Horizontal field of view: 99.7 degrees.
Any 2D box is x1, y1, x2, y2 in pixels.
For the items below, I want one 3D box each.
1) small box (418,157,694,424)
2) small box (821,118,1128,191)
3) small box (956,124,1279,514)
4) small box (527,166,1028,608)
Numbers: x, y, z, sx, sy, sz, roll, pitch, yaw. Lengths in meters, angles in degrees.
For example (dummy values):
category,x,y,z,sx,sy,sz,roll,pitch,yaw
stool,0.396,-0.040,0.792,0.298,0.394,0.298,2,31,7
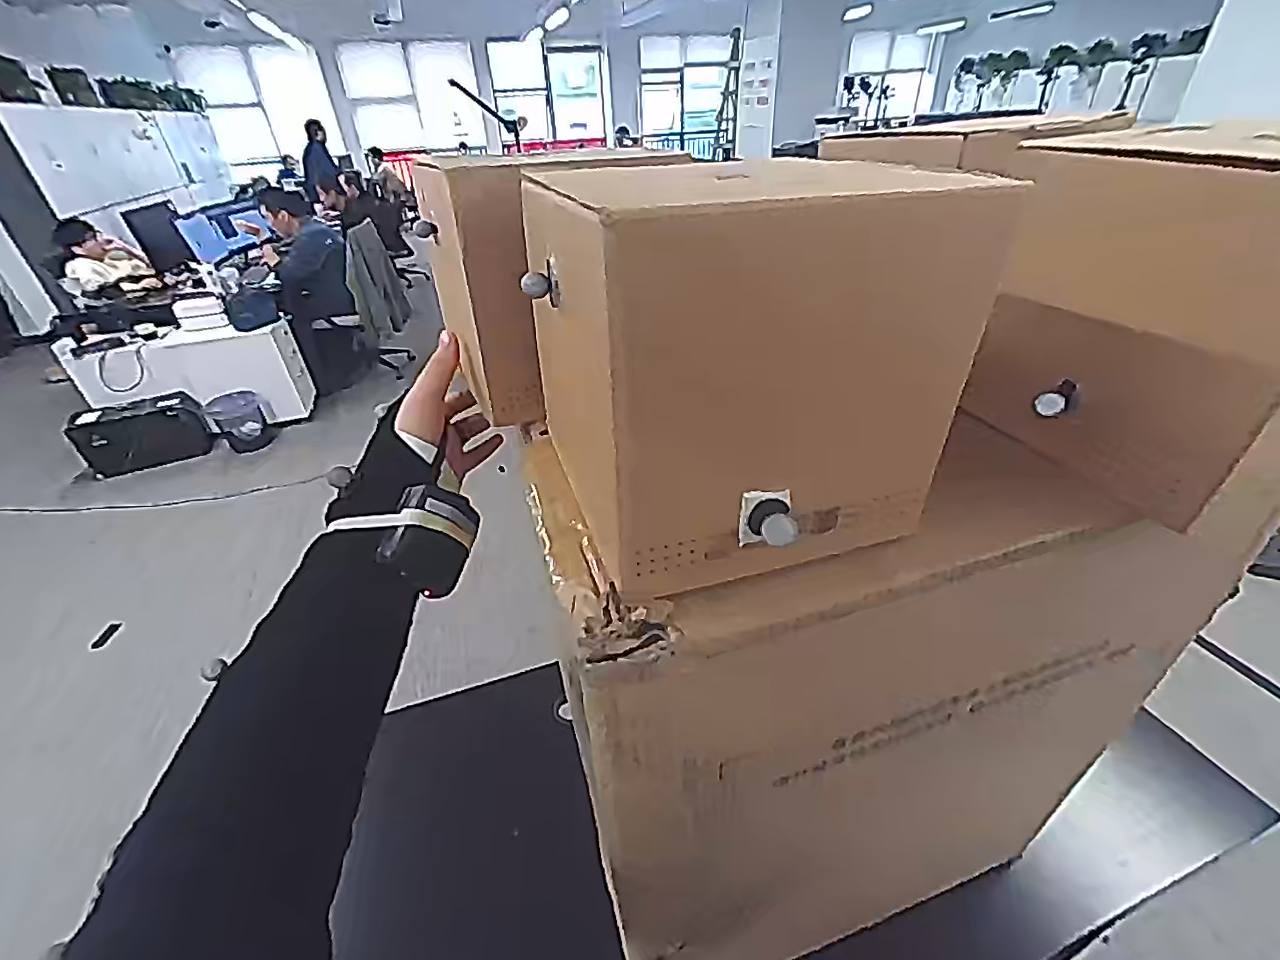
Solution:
category,x,y,z,sx,sy,sz,roll,pitch,yaw
small box,-0.070,-0.163,0.442,0.168,0.176,0.179,-16,35,-20
small box,0.281,-0.230,0.510,0.168,0.176,0.179,-15,33,-13
small box,0.326,-0.097,0.318,0.168,0.176,0.179,-14,38,-13
small box,0.041,-0.064,0.290,0.168,0.176,0.179,-12,36,-15
